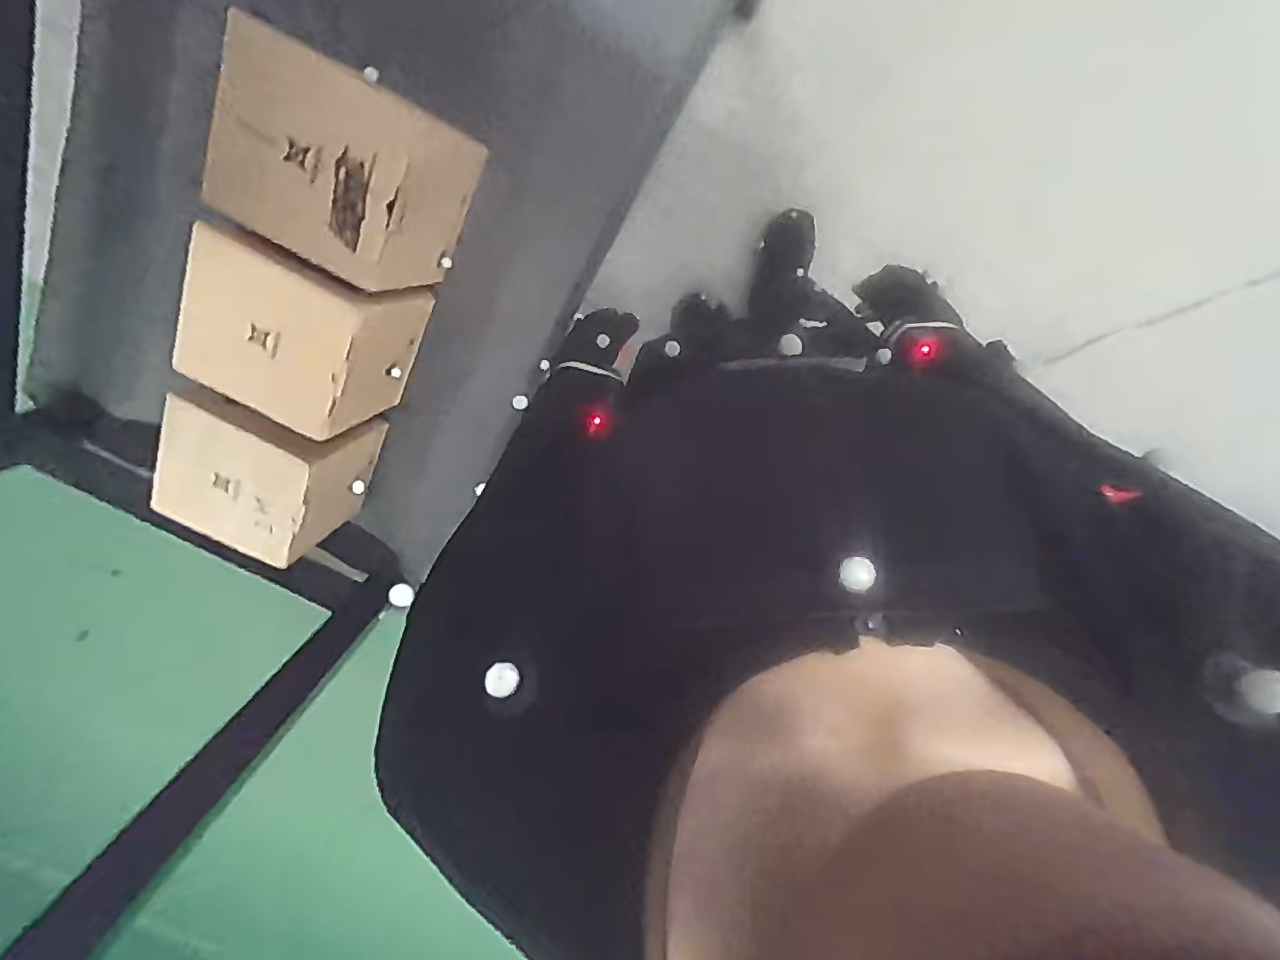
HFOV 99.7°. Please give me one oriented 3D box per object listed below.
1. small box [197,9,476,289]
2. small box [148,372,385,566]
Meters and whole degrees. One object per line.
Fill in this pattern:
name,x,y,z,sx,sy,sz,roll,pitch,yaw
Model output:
small box,-0.298,-0.322,0.562,0.179,0.176,0.168,28,113,-5
small box,-0.475,-0.026,0.706,0.179,0.176,0.168,28,113,-6
